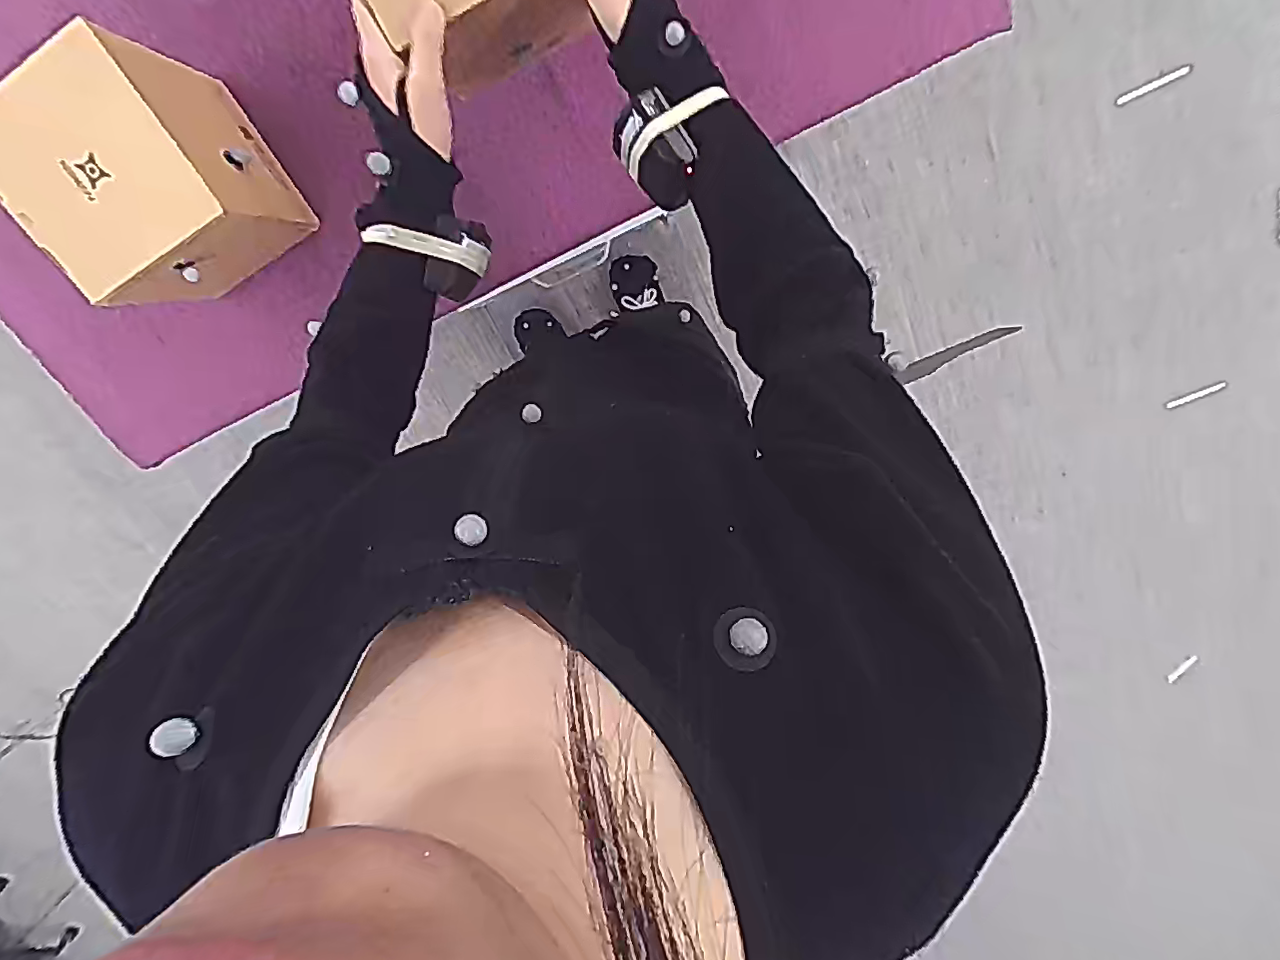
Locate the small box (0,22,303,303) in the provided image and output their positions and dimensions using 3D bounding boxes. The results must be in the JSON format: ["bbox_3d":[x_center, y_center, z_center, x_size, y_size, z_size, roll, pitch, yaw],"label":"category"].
[{"bbox_3d":[-0.492,-0.305,0.556,0.179,0.176,0.168,-27,110,10],"label":"small box"}]

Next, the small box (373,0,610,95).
[{"bbox_3d":[-0.131,-0.441,0.417,0.168,0.176,0.179,-20,114,10],"label":"small box"}]
